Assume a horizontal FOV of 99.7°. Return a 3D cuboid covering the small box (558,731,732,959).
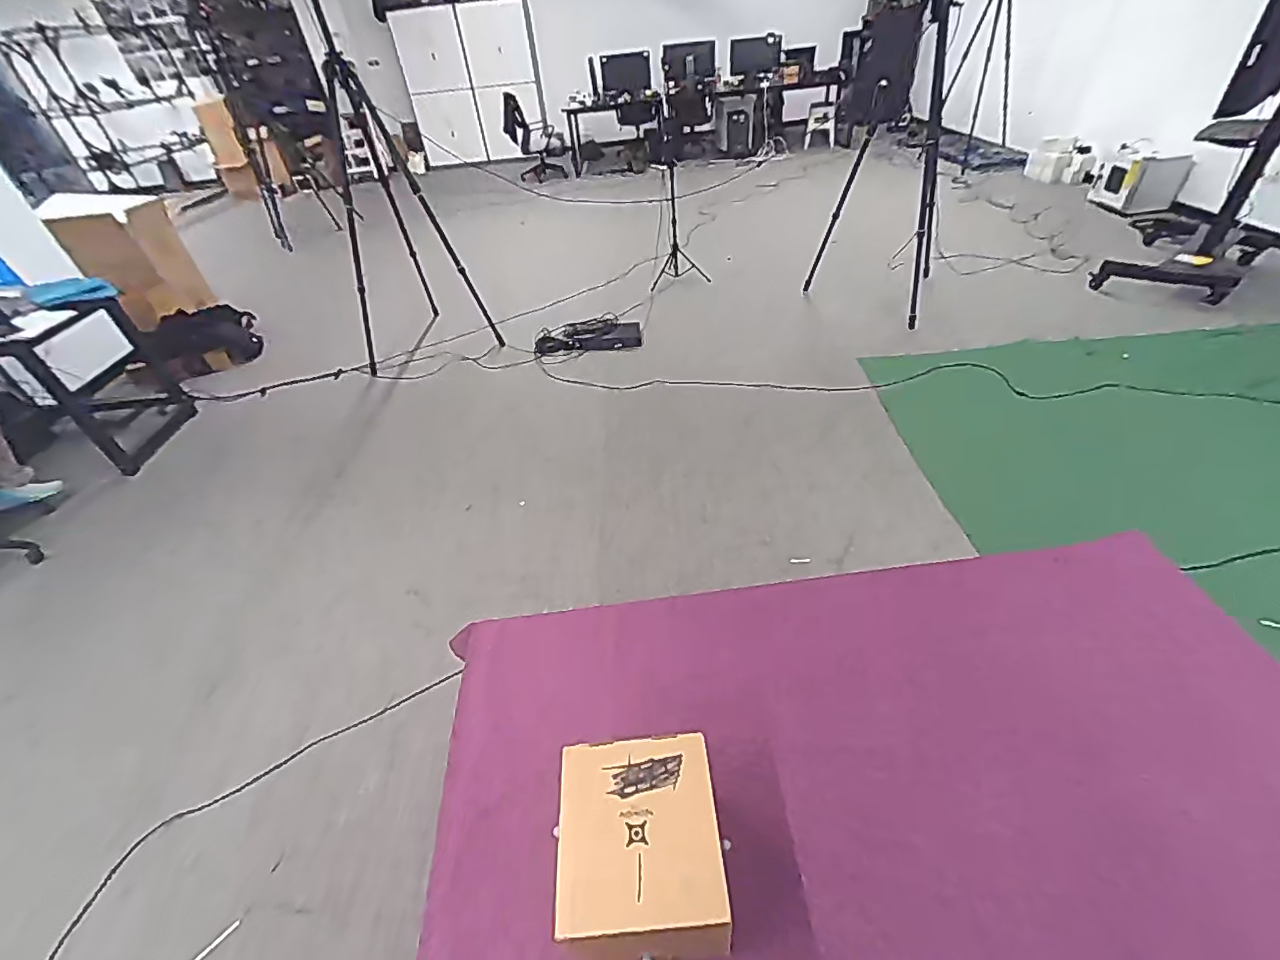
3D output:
[{"bbox_3d":[0.006,0.416,0.616,0.168,0.176,0.179,-6,41,1],"label":"small box"}]
